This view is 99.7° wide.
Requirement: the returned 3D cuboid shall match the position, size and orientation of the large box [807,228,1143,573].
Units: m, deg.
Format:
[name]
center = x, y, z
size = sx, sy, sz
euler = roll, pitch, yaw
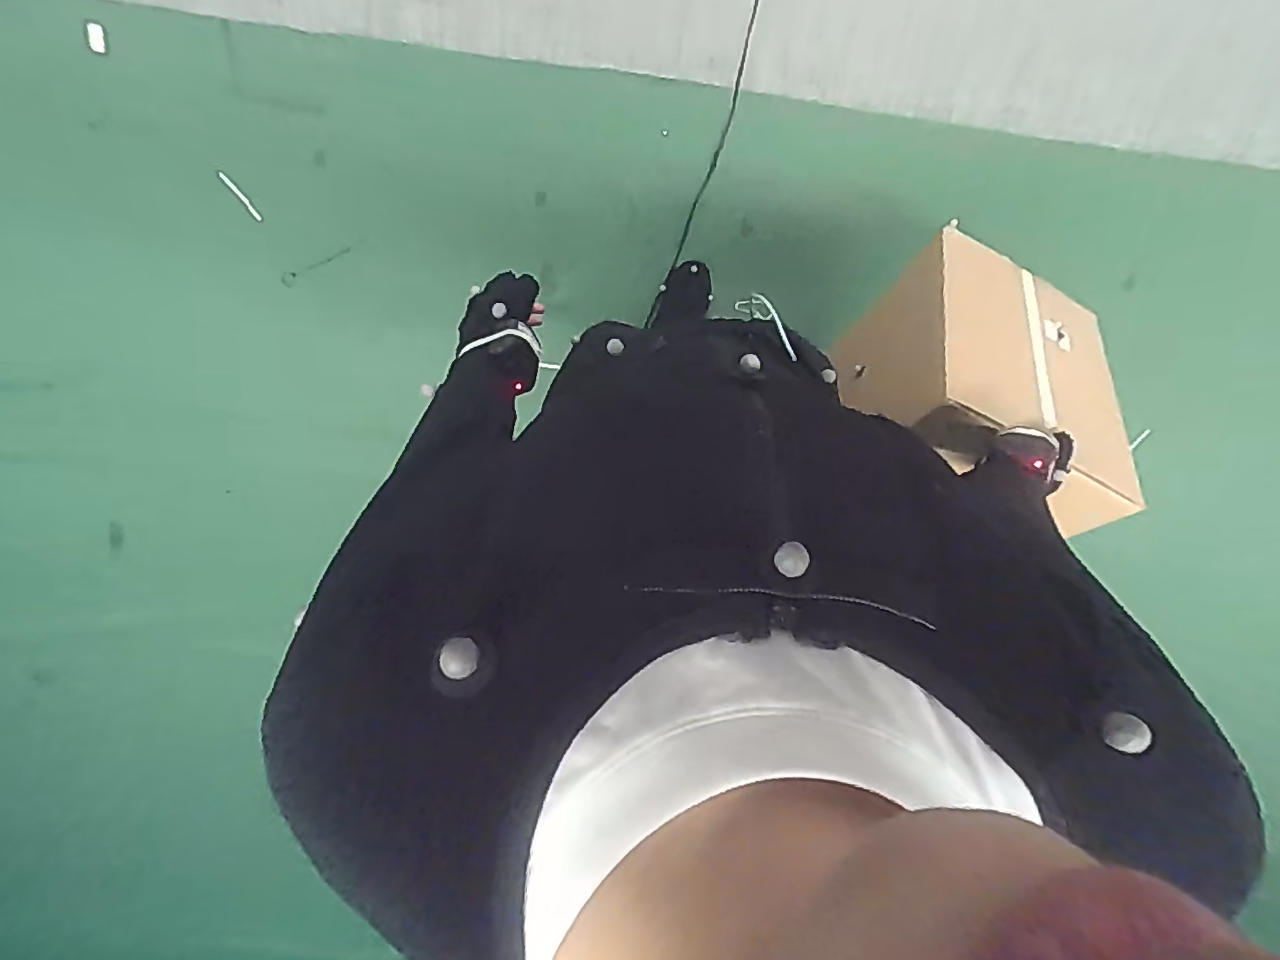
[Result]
[large box]
center = 0.511, -0.119, 0.898
size = 0.320, 0.408, 0.320
euler = 26, 146, -8
